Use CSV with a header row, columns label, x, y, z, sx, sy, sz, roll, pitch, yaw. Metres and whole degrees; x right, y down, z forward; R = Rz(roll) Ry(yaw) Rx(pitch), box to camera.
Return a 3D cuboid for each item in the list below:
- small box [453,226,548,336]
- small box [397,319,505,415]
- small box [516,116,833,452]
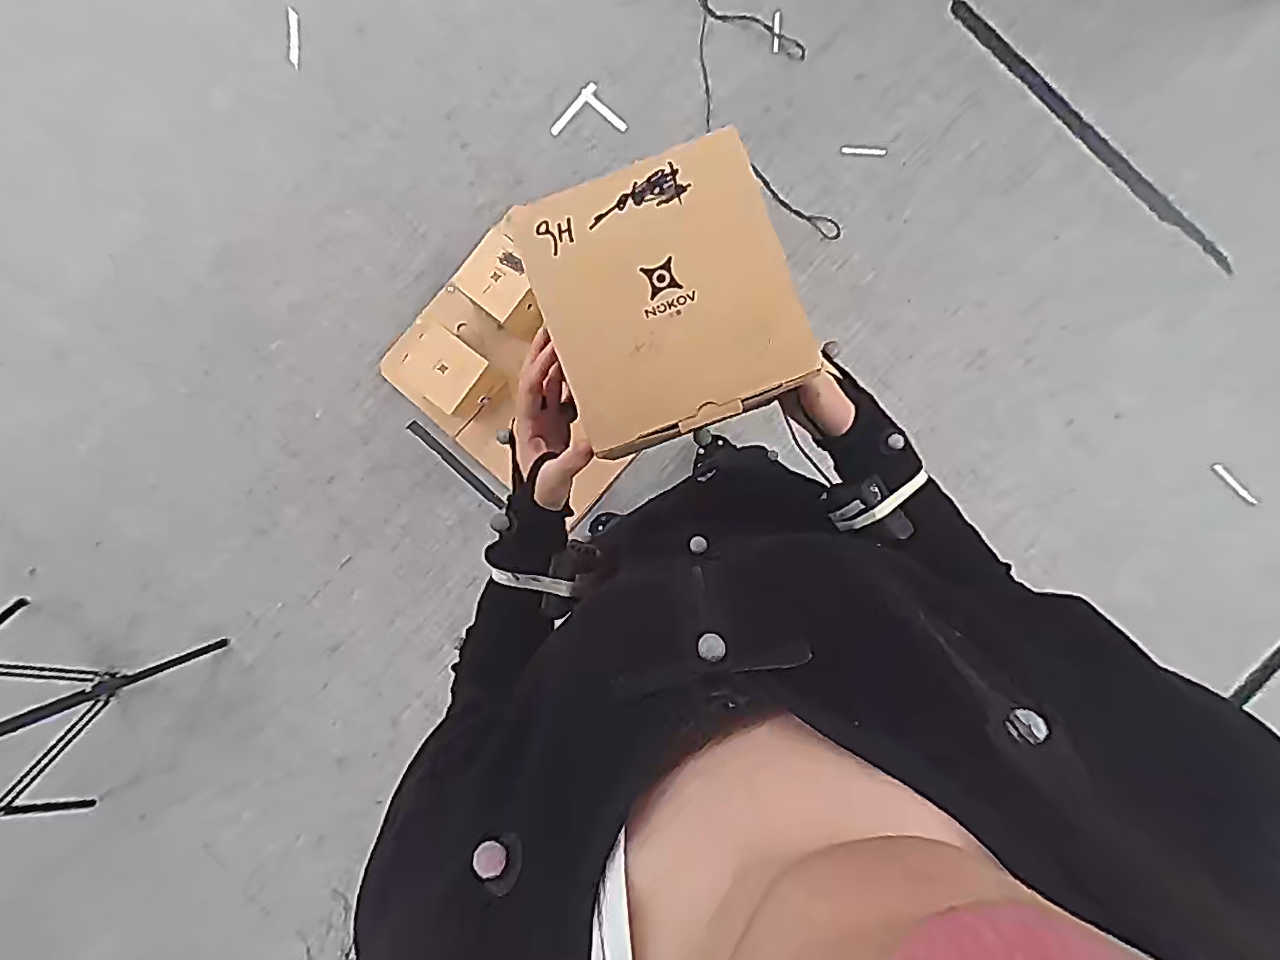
label,x,y,z,sx,sy,sz,roll,pitch,yaw
small box,-0.340,-0.501,1.386,0.168,0.176,0.179,38,92,-1
small box,-0.478,-0.281,1.396,0.179,0.176,0.168,36,93,-1
small box,0.025,-0.130,0.431,0.168,0.176,0.179,-20,91,2
